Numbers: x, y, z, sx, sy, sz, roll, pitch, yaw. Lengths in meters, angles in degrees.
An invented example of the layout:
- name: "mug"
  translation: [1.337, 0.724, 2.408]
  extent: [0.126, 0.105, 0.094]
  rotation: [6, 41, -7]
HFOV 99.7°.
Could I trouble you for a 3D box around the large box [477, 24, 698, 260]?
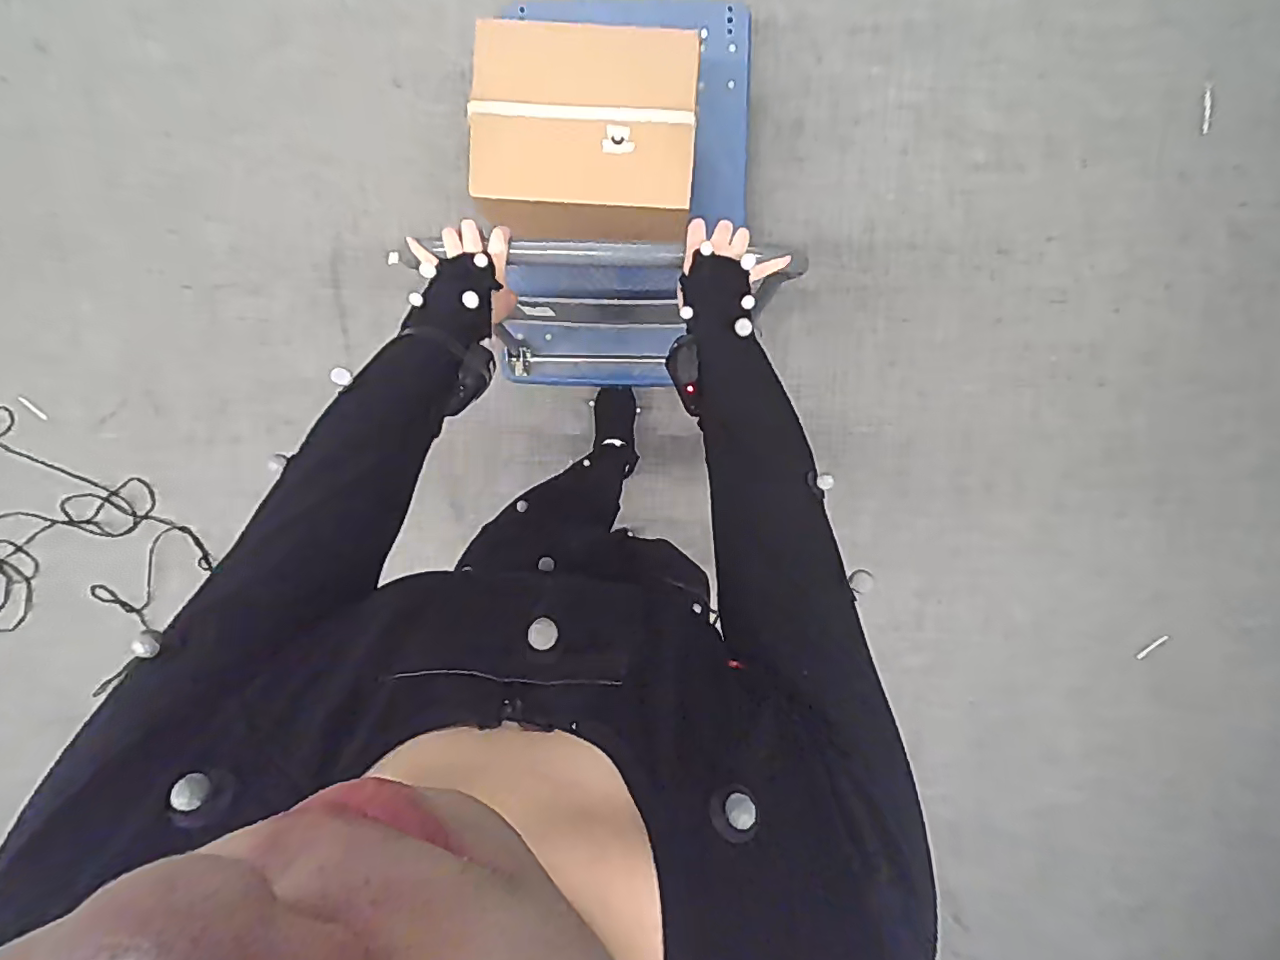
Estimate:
- name: "large box"
  translation: [-0.101, -0.676, 1.139]
  extent: [0.408, 0.320, 0.320]
  rotation: [3, 93, -1]
